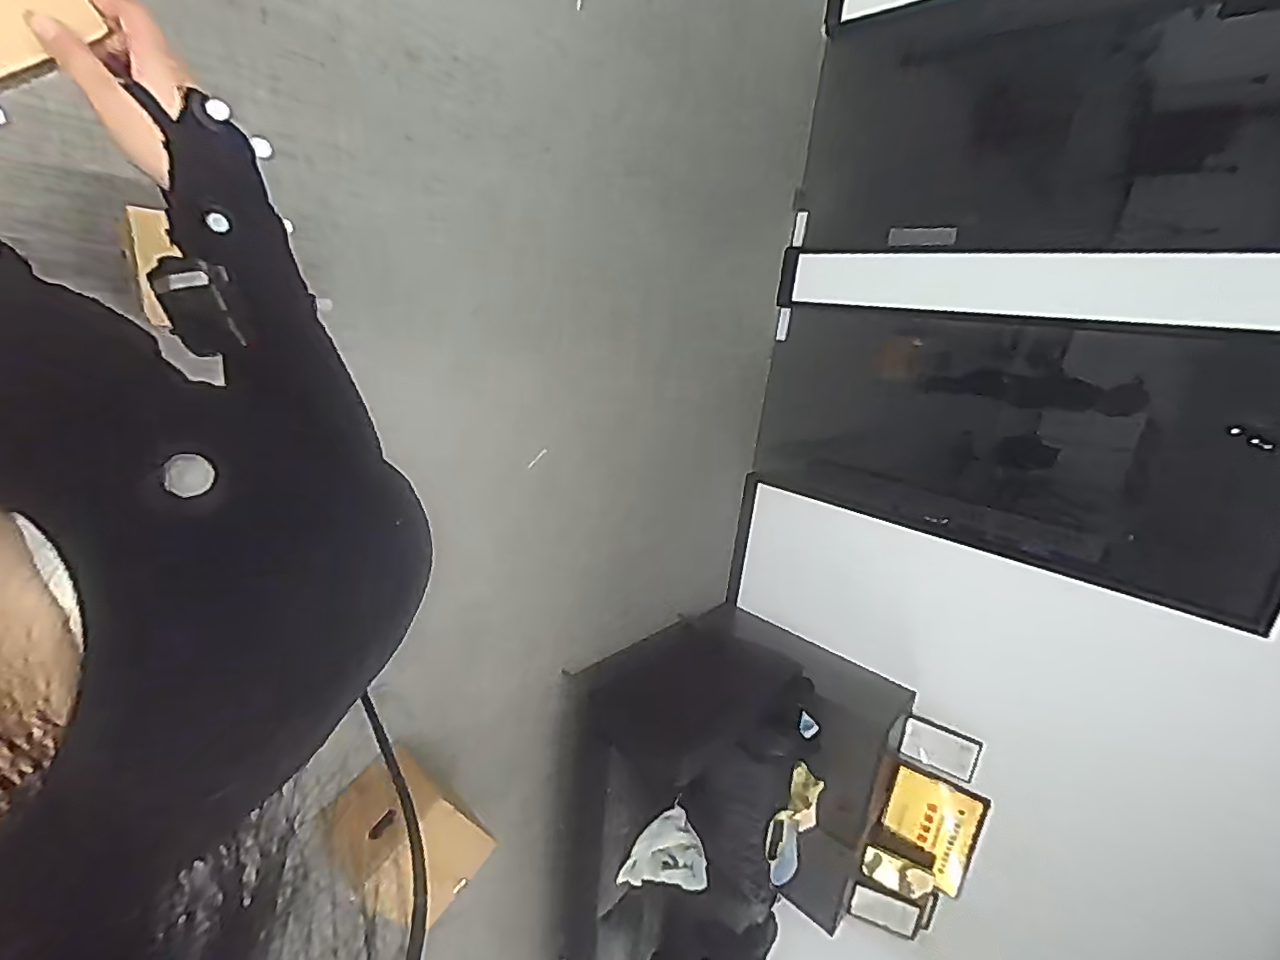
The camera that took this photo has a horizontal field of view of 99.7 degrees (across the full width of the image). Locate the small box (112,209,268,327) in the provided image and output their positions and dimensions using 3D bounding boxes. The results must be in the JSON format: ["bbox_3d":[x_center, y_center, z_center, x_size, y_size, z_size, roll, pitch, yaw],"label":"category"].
[{"bbox_3d":[-0.783,-0.365,0.946,0.179,0.176,0.168,-12,114,-45],"label":"small box"}]

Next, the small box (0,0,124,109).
[{"bbox_3d":[-0.483,-0.315,0.323,0.179,0.176,0.168,-47,142,-21],"label":"small box"}]
